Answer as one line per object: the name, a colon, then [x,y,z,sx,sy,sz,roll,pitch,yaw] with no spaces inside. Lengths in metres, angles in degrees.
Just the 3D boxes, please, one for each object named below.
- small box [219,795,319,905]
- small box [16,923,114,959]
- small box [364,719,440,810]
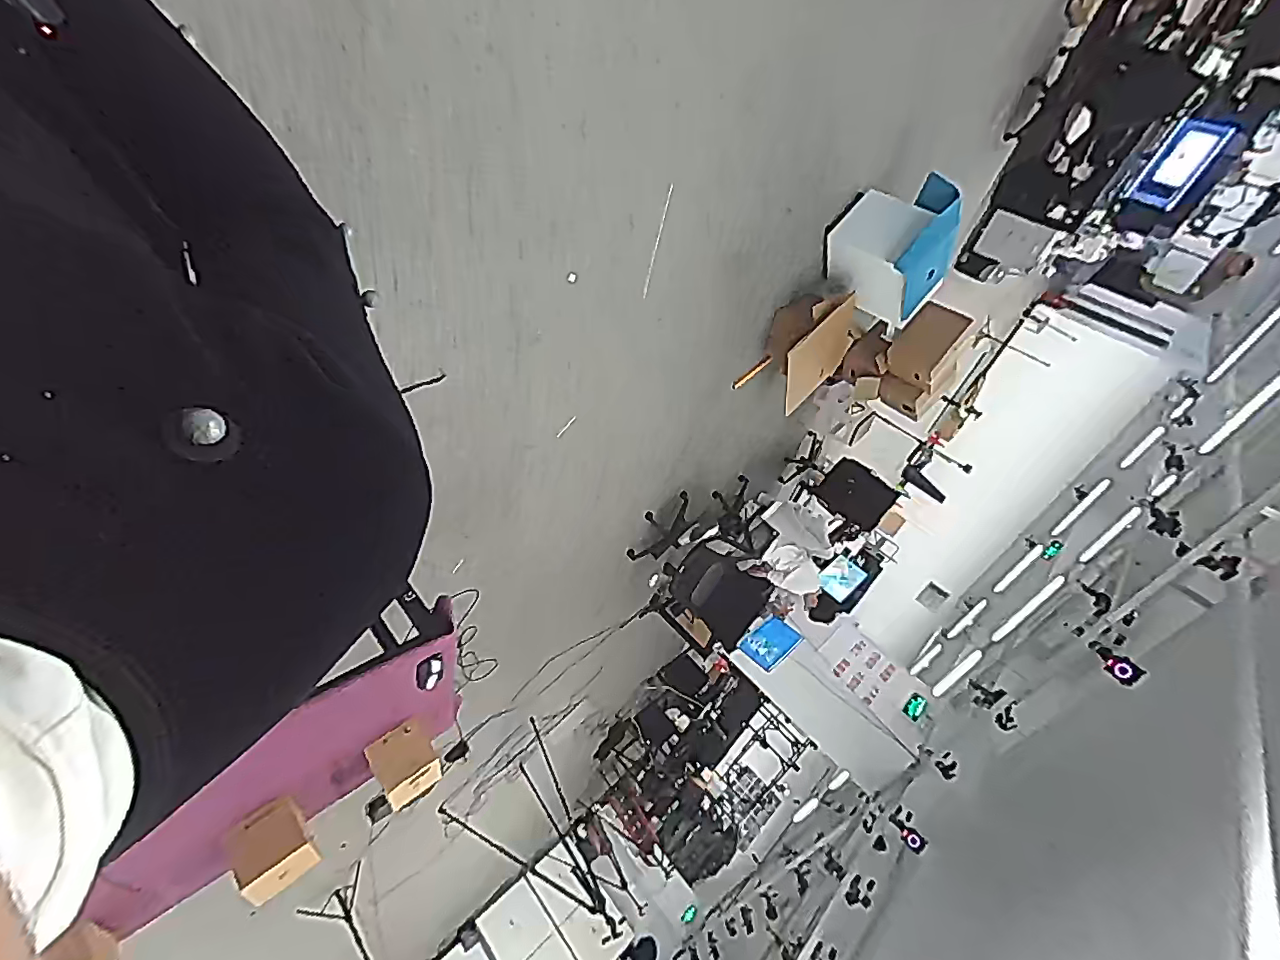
small box: [-1.023,1.016,1.495,0.168,0.176,0.179,-27,145,-38]
small box: [-1.324,1.159,1.225,0.168,0.176,0.179,-26,146,-39]
small box: [-0.765,0.907,1.738,0.168,0.176,0.179,-26,146,-37]
